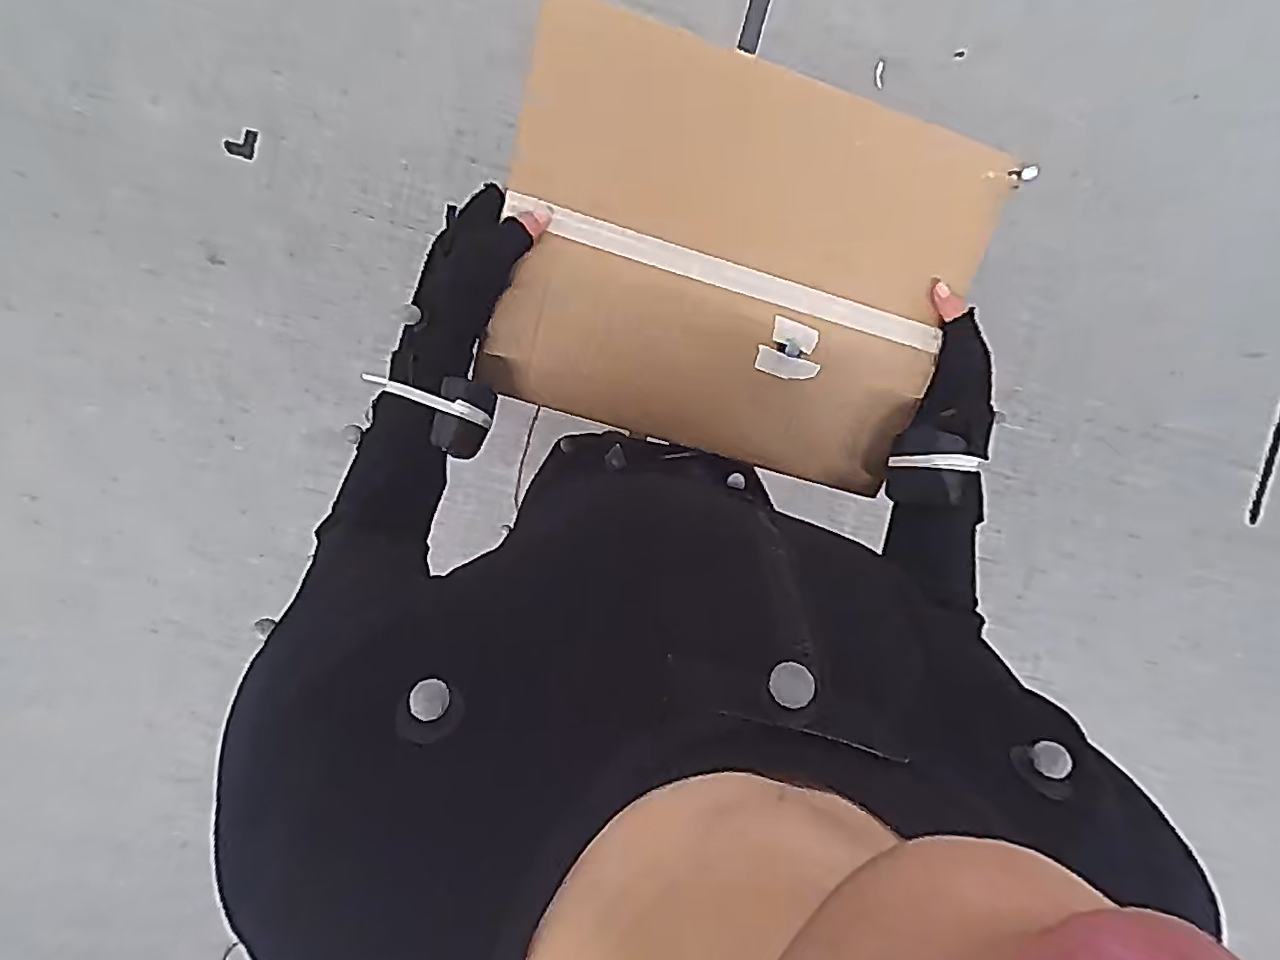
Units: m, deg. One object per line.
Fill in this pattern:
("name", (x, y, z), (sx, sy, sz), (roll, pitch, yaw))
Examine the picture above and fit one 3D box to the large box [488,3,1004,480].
("large box", (0.077, -0.231, 0.625), (0.408, 0.320, 0.320), (15, 108, -8))
